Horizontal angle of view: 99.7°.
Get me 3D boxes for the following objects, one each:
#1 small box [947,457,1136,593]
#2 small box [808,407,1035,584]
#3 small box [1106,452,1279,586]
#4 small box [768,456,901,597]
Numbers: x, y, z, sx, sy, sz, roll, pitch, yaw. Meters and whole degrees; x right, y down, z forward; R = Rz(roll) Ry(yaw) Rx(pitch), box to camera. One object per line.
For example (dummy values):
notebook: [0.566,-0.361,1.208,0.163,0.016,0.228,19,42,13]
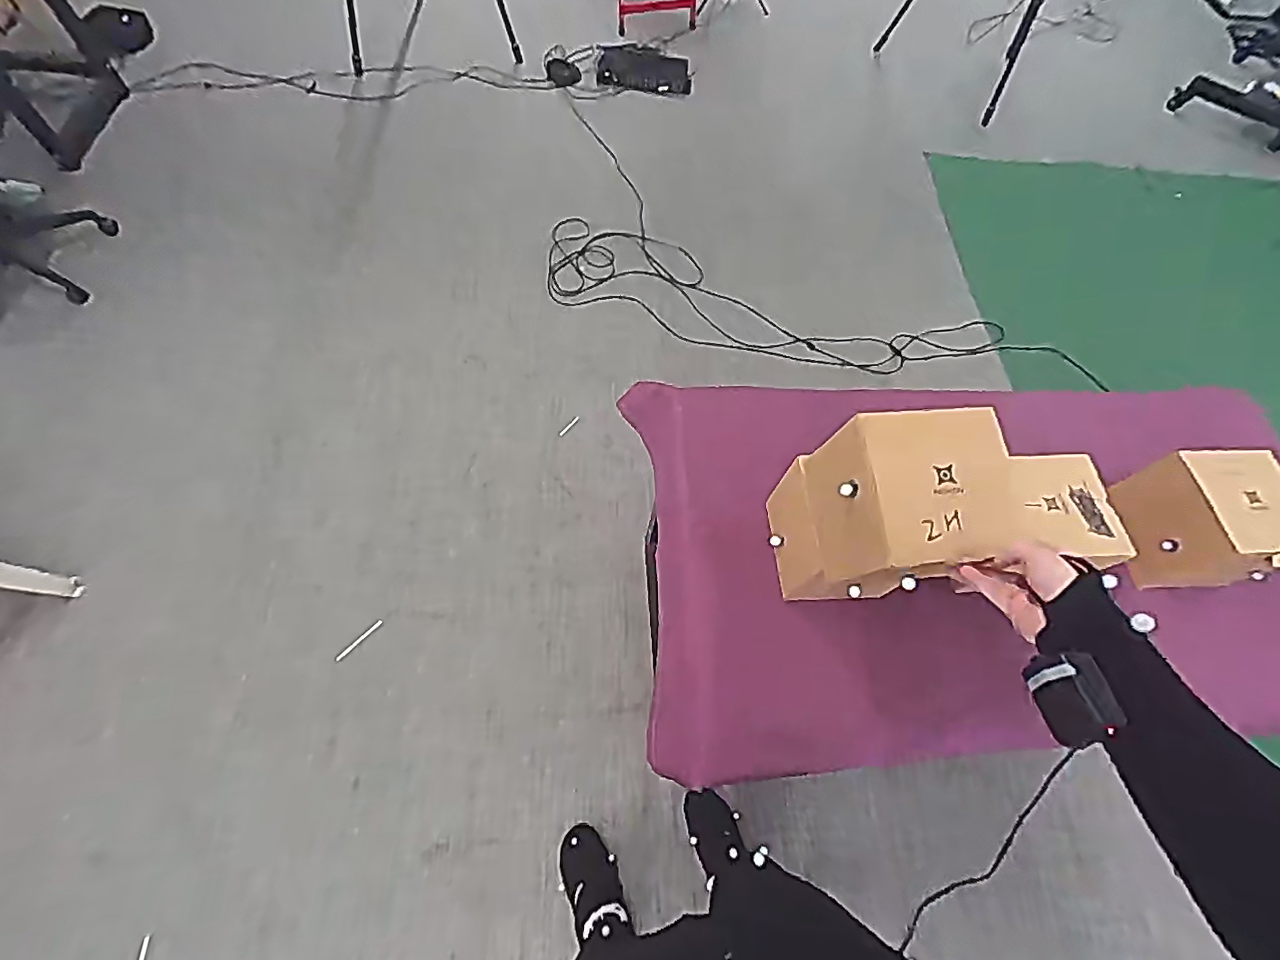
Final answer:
small box: [0.598,0.075,0.852,0.179,0.176,0.168,-2,63,-4]
small box: [0.322,0.026,0.661,0.168,0.176,0.179,-3,73,-6]
small box: [0.917,0.070,0.881,0.168,0.176,0.179,0,62,-5]
small box: [0.308,0.077,0.827,0.168,0.176,0.179,-1,63,-6]
